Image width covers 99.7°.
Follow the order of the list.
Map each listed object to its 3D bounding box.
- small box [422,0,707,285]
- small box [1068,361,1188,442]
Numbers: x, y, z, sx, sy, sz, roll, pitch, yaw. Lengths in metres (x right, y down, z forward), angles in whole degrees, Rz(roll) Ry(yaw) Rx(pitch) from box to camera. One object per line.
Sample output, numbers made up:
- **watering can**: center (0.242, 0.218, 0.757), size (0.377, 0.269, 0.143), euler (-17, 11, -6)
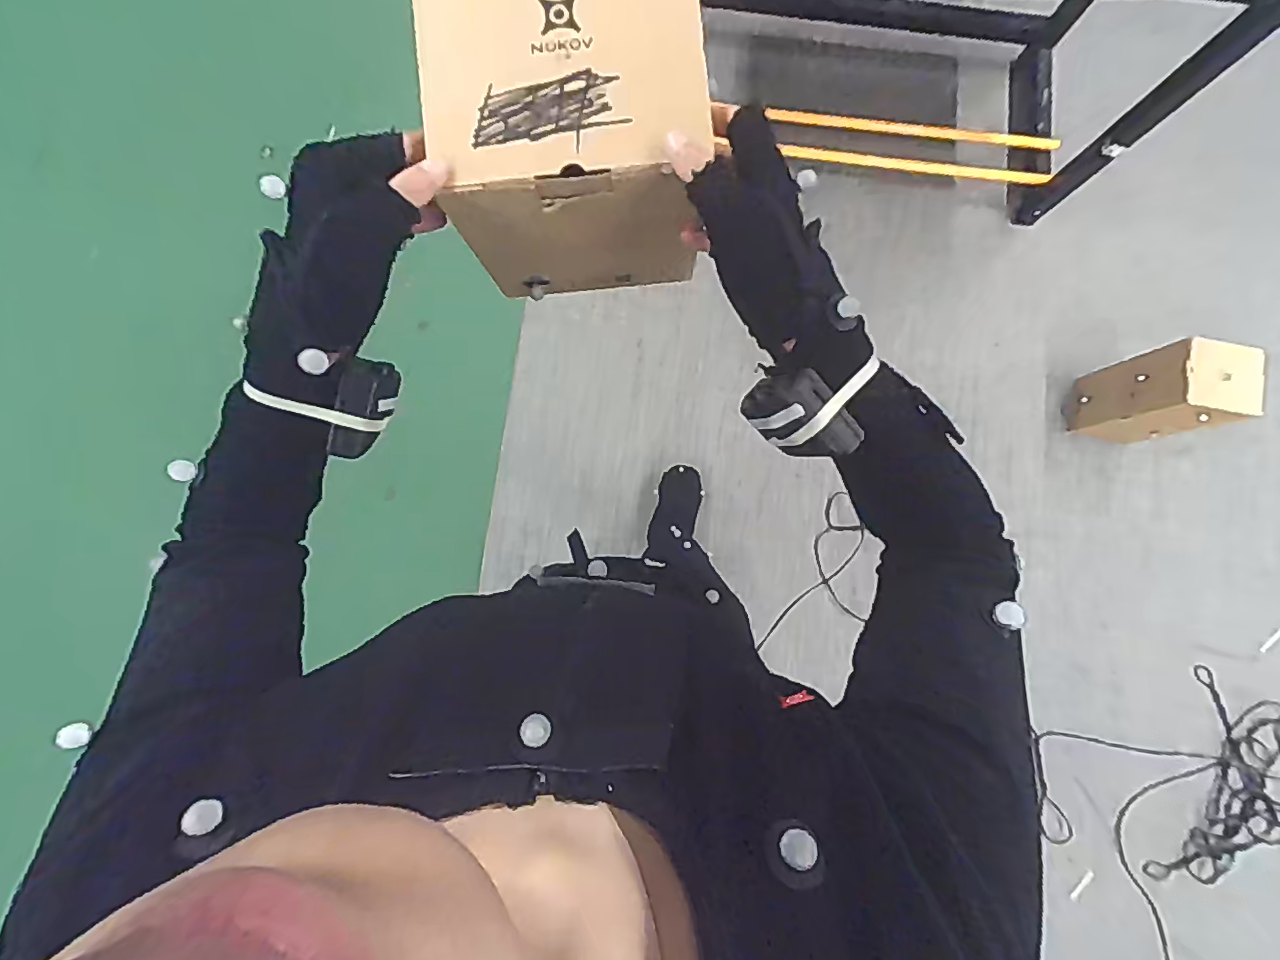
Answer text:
- **small box**: center (-0.044, -0.258, 0.401), size (0.168, 0.176, 0.179), euler (-5, 87, 1)
- **small box**: center (1.341, -0.208, 1.494), size (0.179, 0.176, 0.168), euler (12, 82, 1)
